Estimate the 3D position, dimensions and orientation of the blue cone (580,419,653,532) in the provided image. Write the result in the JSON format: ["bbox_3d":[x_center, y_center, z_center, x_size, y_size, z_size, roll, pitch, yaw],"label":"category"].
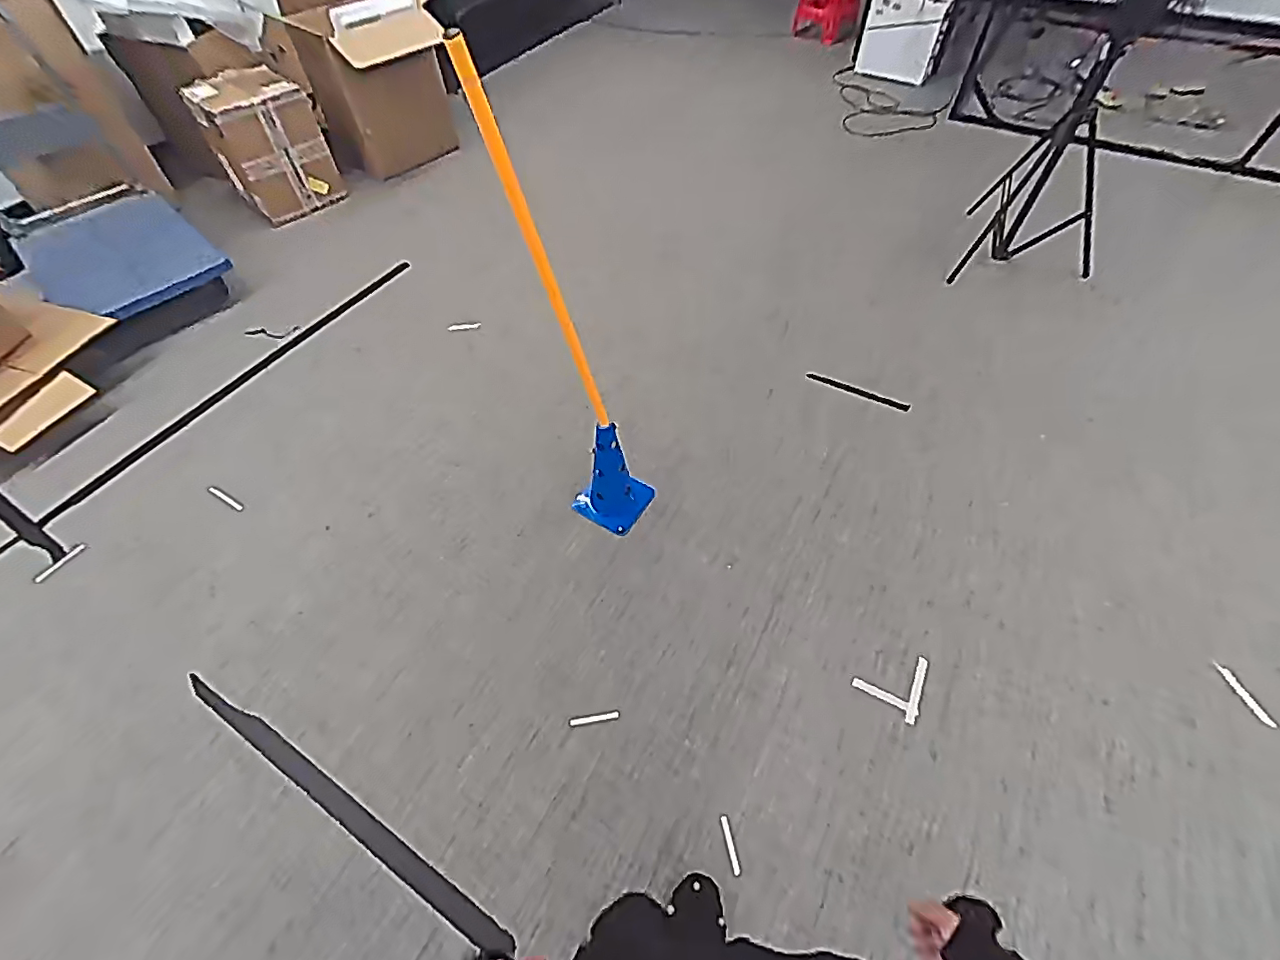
[{"bbox_3d":[-0.077,-0.039,1.535,0.192,0.380,0.193,29,60,19],"label":"blue cone"}]
